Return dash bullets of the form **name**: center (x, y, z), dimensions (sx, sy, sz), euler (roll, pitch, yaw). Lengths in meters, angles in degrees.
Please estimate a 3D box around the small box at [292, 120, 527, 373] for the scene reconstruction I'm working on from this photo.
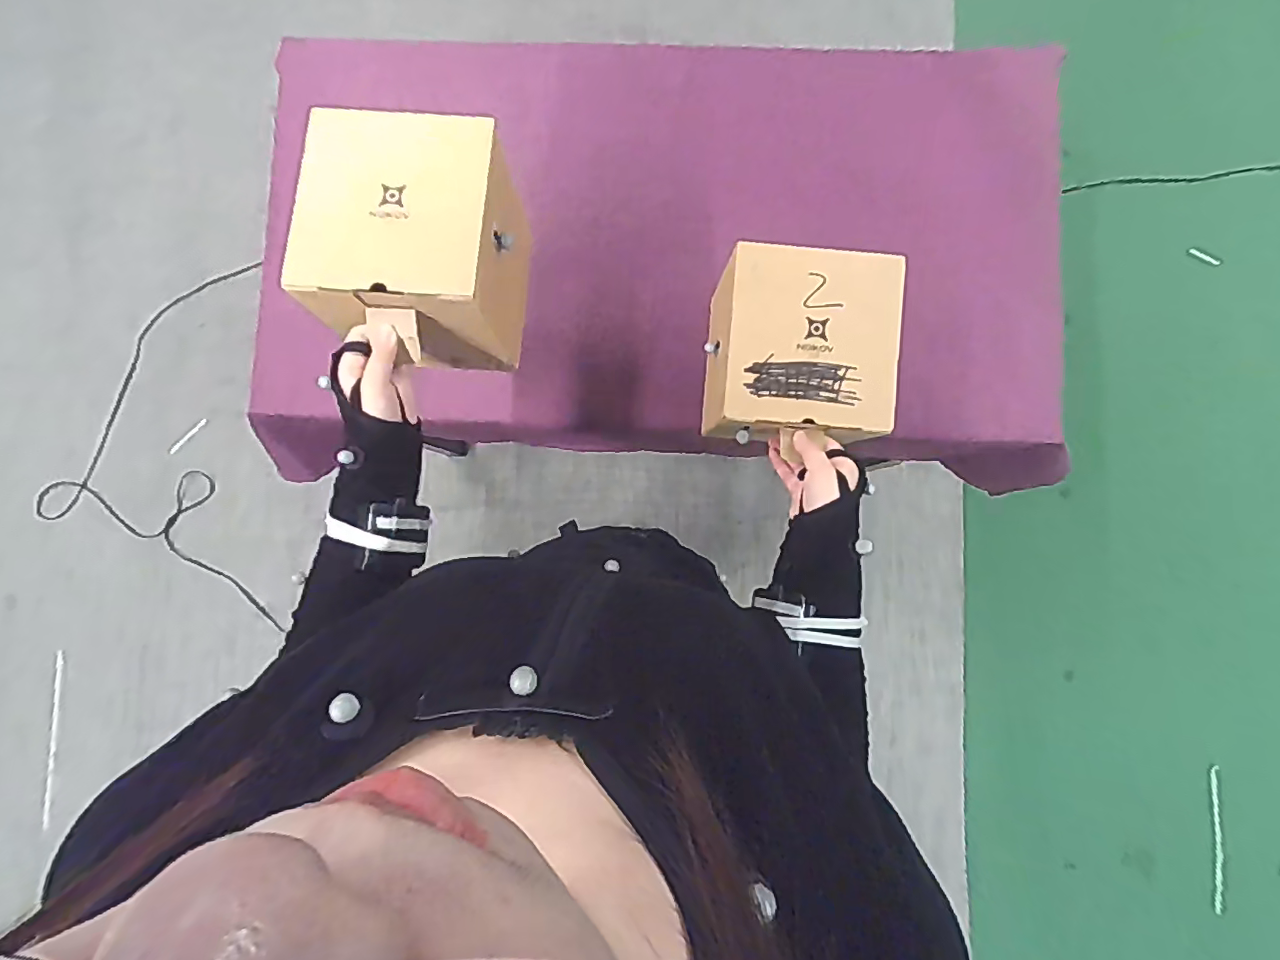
- **small box**: center (-0.218, -0.228, 0.563), dimensions (0.168, 0.176, 0.179), euler (3, 81, 0)
